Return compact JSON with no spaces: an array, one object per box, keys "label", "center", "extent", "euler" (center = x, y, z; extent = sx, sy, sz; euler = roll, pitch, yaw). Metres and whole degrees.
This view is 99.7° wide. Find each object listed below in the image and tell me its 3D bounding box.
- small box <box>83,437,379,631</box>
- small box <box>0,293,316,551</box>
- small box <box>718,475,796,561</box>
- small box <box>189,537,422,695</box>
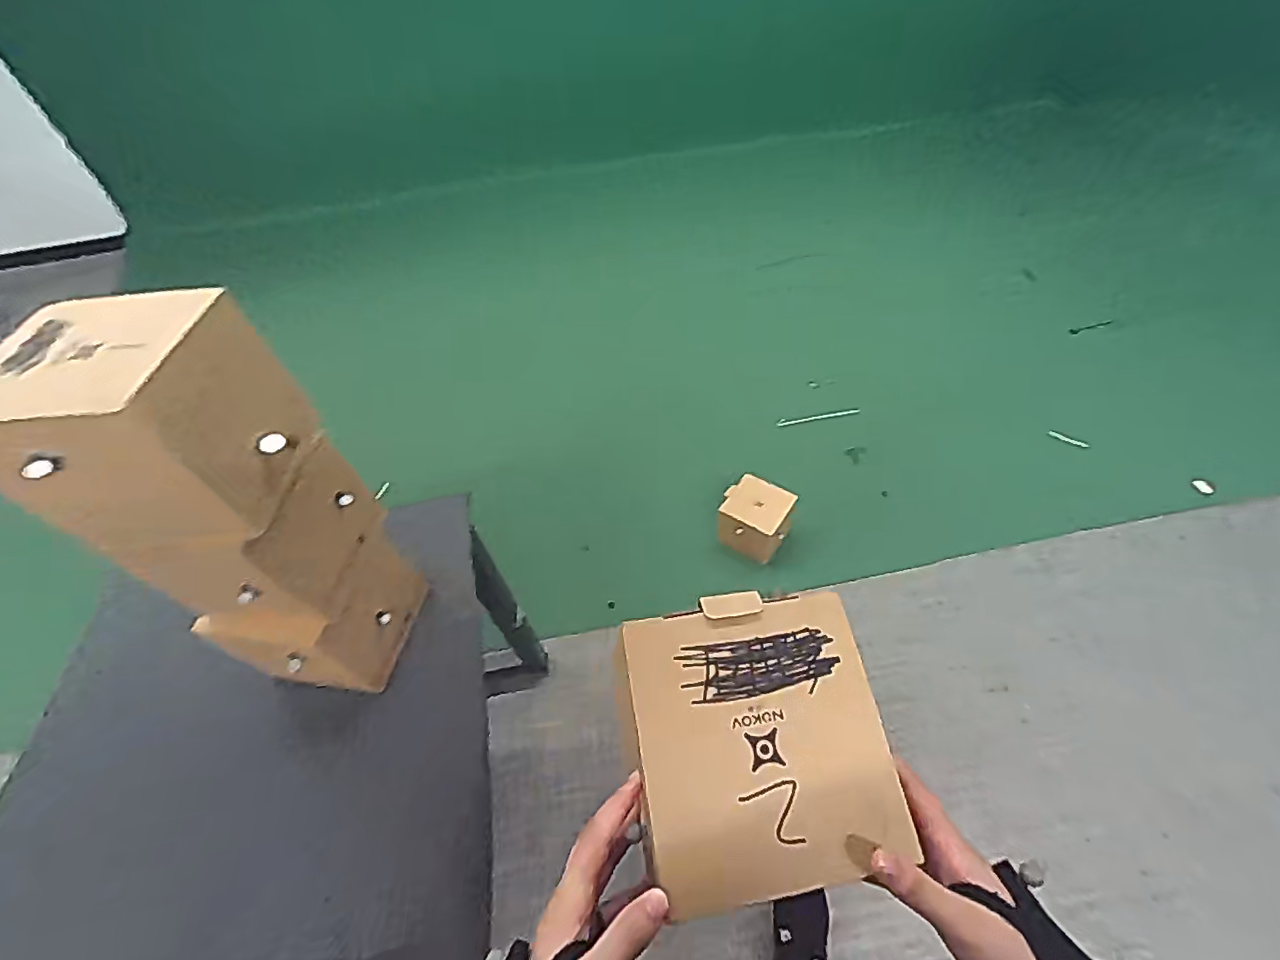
[{"label":"small box","center":[-0.439,0.062,0.622],"extent":[0.179,0.176,0.168],"euler":[-1,50,9]},{"label":"small box","center":[-0.451,-0.046,0.499],"extent":[0.179,0.176,0.168],"euler":[-4,51,3]},{"label":"small box","center":[0.351,0.121,1.646],"extent":[0.179,0.176,0.168],"euler":[27,59,25]},{"label":"small box","center":[-0.431,0.179,0.735],"extent":[0.179,0.176,0.168],"euler":[3,52,12]}]
